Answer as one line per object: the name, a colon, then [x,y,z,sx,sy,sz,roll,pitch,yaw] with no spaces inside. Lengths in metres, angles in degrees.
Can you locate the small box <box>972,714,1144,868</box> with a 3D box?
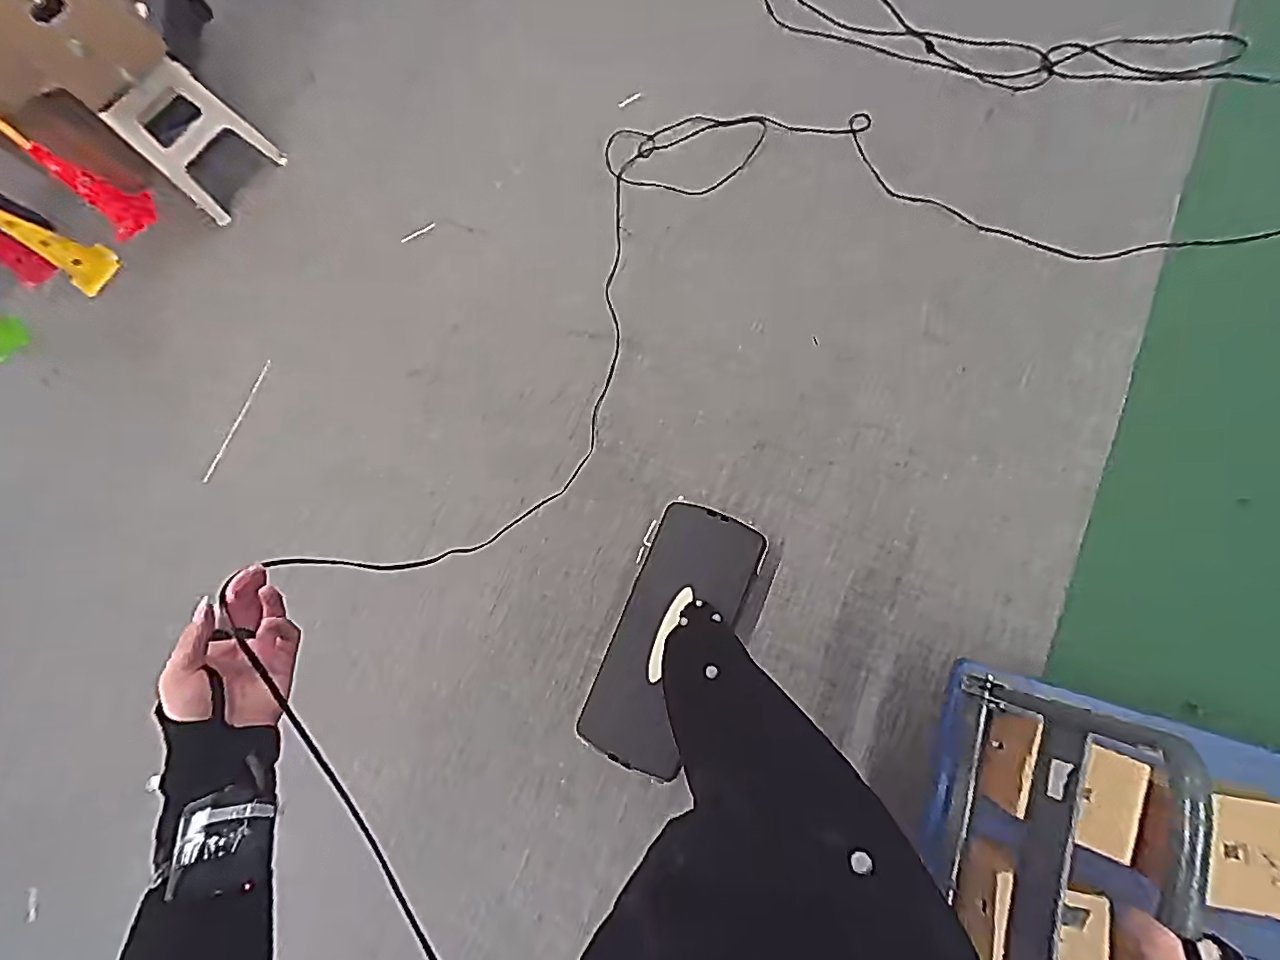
small box: [0.751,0.551,0.991,0.179,0.176,0.168,19,81,16]

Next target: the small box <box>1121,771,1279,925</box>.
small box: [0.947,0.617,0.932,0.179,0.176,0.168,3,77,13]
